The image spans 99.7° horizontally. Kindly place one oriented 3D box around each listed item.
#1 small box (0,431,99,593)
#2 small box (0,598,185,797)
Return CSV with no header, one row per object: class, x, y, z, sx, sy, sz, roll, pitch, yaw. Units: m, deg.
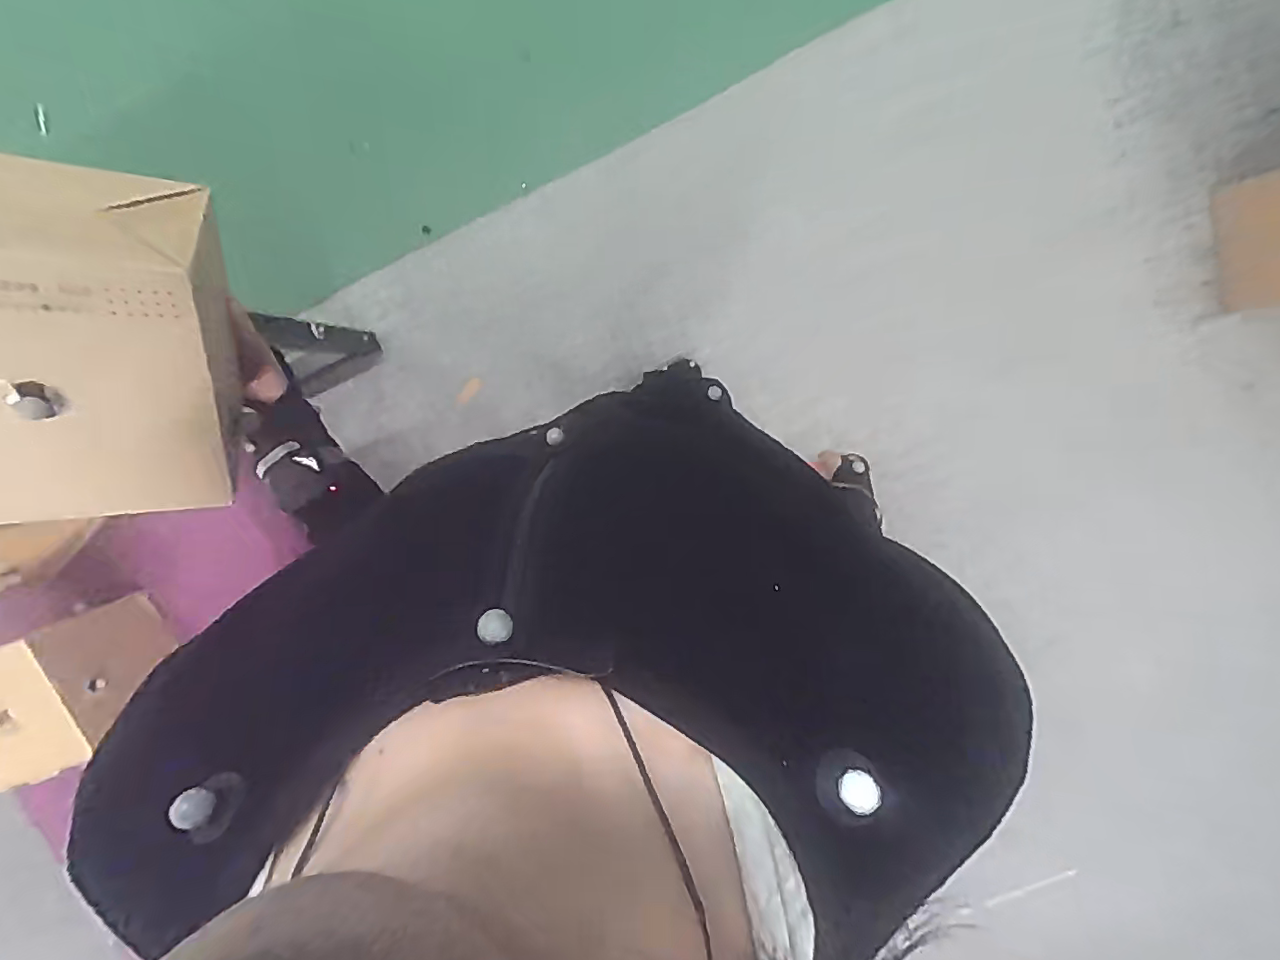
small box,-0.884,0.052,0.700,0.168,0.176,0.179,-44,97,8
small box,-0.793,0.291,0.742,0.168,0.176,0.179,-20,99,3
